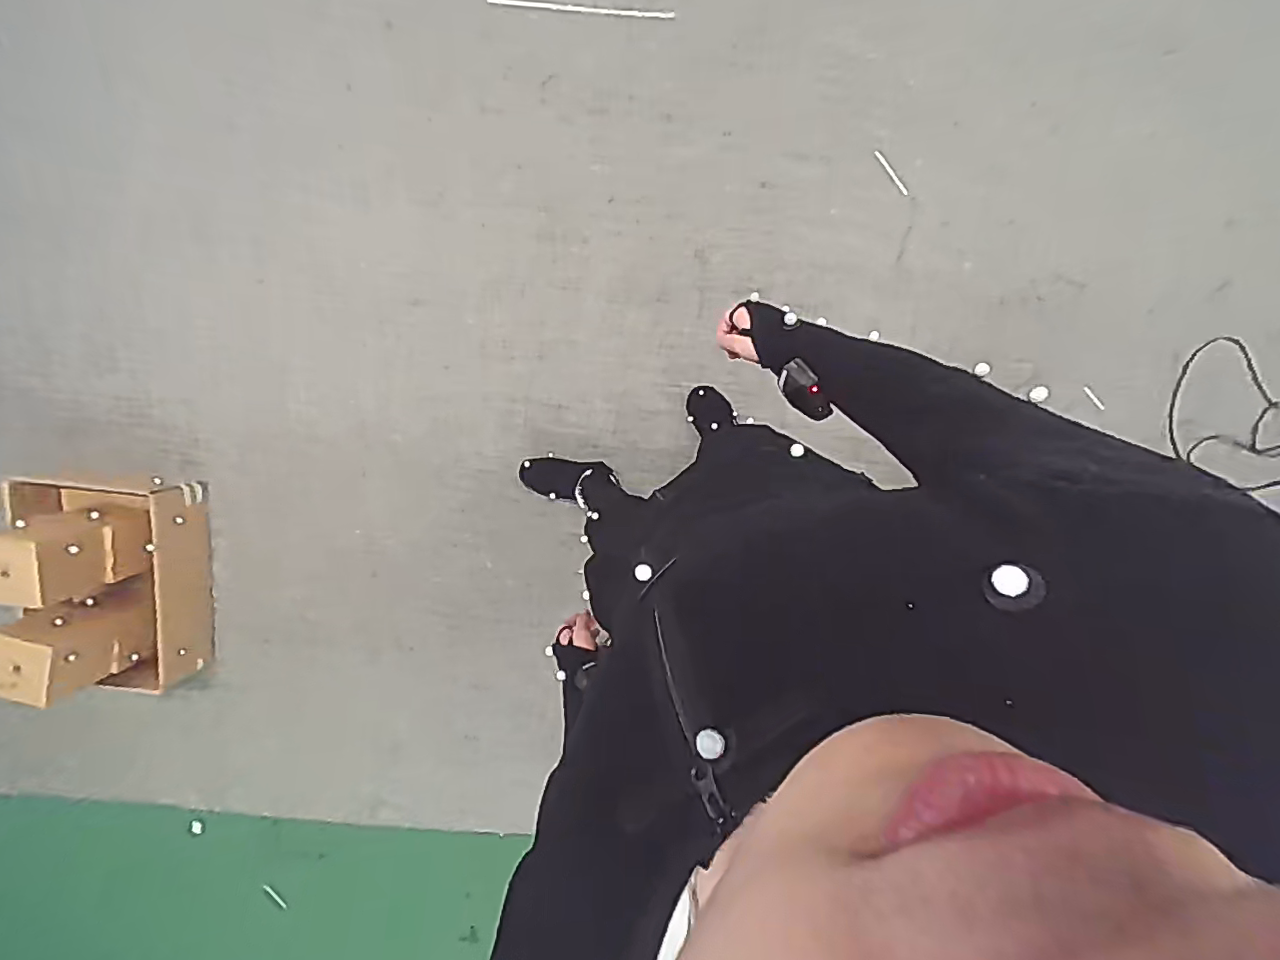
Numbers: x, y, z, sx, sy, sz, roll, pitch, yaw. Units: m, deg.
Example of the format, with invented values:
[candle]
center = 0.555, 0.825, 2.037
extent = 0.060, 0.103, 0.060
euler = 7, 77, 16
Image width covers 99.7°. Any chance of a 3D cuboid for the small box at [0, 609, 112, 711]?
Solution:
[small box]
center = -1.546, 0.462, 1.414
extent = 0.168, 0.176, 0.179
euler = 16, 100, -2
